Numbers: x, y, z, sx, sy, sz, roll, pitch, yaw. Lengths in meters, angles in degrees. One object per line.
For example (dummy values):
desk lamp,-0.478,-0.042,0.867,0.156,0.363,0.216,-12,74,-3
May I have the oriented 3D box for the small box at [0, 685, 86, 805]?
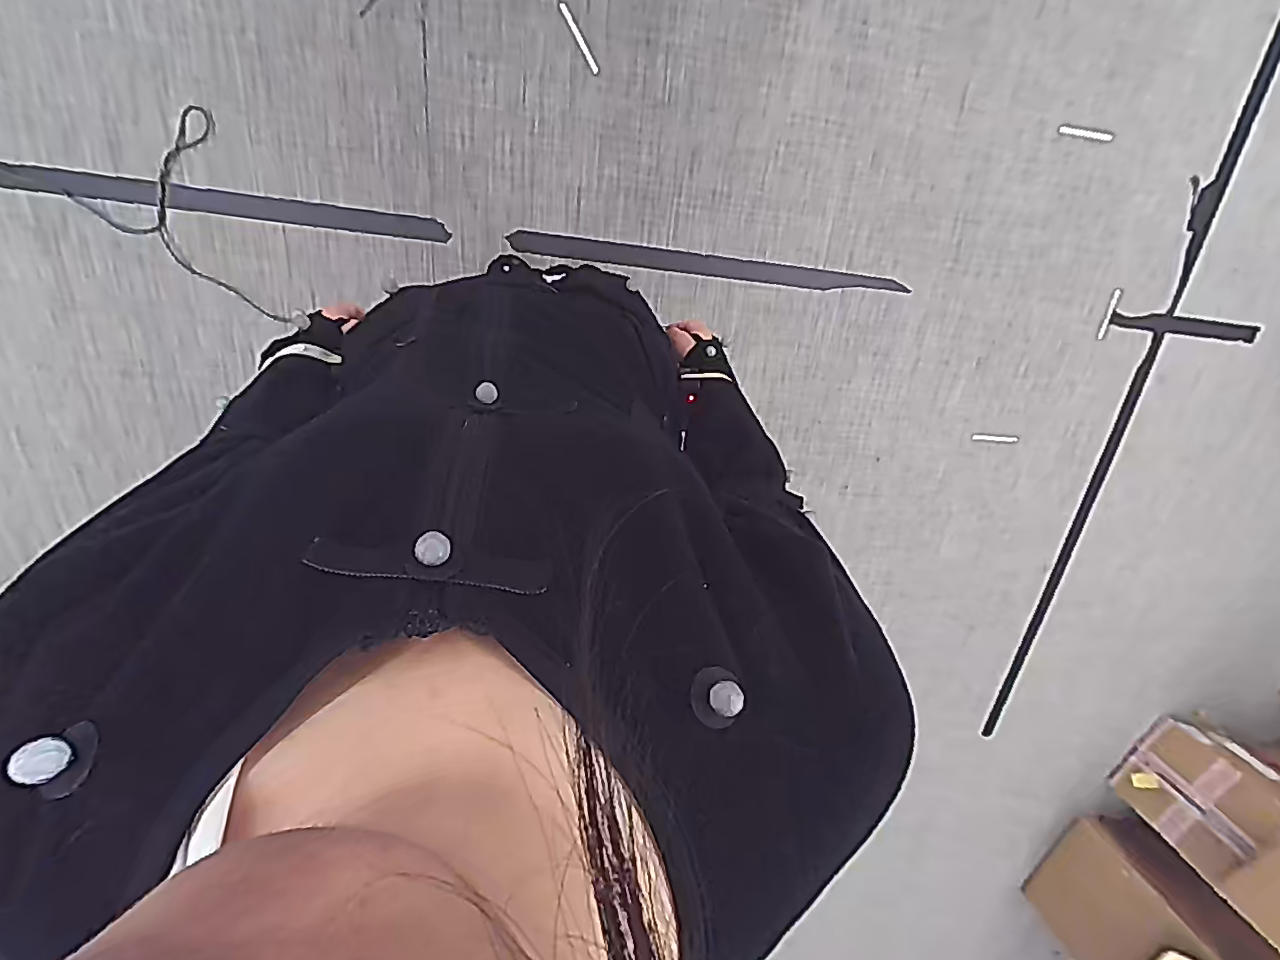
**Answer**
small box,-1.398,0.588,1.177,0.168,0.176,0.179,-35,110,6
